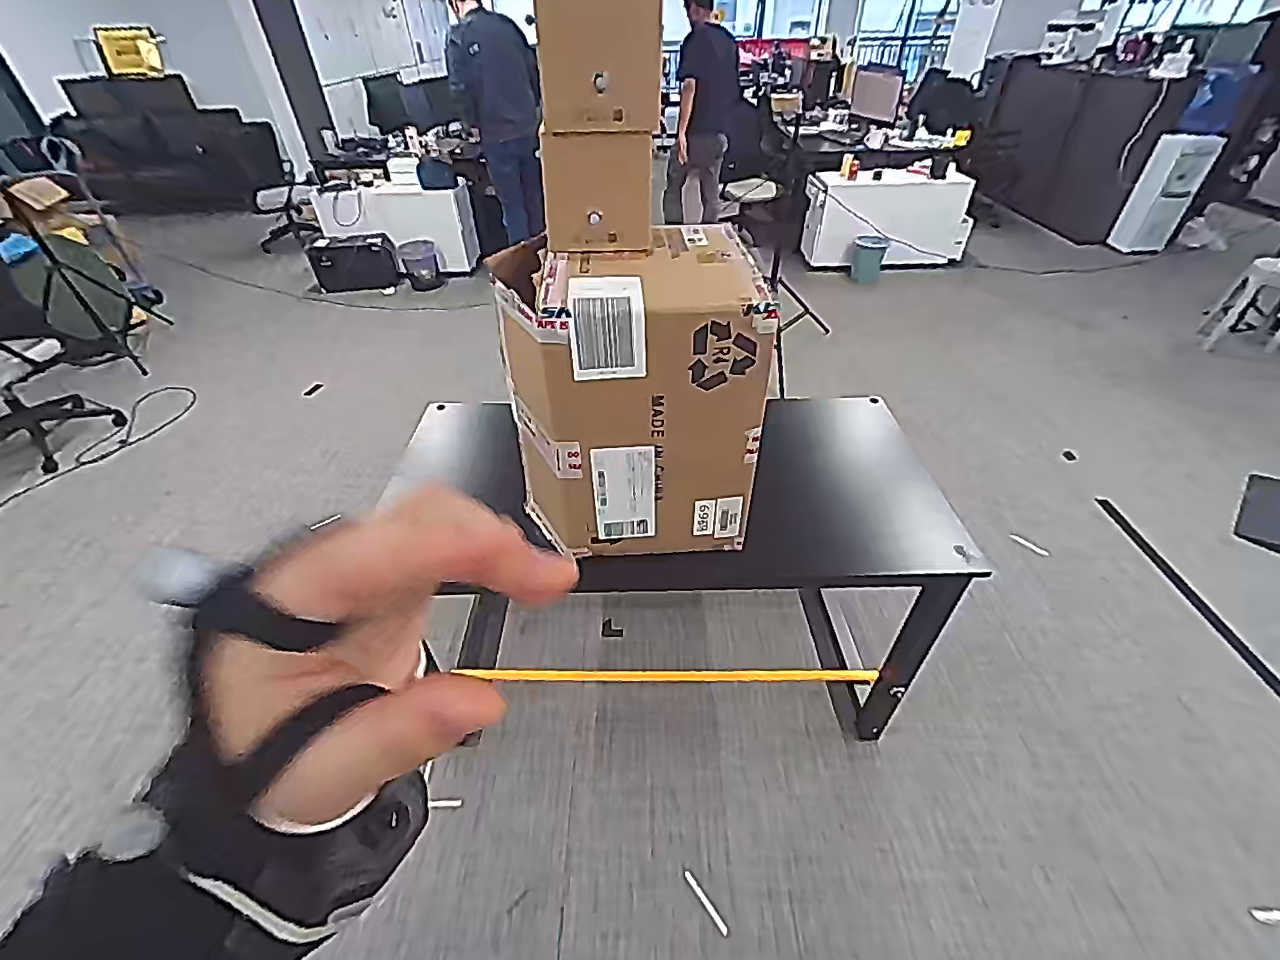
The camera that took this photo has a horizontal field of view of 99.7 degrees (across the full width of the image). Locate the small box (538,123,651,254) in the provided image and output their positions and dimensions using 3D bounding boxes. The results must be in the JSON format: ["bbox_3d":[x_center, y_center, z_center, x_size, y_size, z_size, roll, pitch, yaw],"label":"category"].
[{"bbox_3d":[-0.074,-0.486,0.894,0.168,0.176,0.179,-3,39,-5],"label":"small box"}]

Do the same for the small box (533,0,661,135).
[{"bbox_3d":[-0.065,-0.611,0.786,0.168,0.176,0.179,-5,38,-6],"label":"small box"}]
